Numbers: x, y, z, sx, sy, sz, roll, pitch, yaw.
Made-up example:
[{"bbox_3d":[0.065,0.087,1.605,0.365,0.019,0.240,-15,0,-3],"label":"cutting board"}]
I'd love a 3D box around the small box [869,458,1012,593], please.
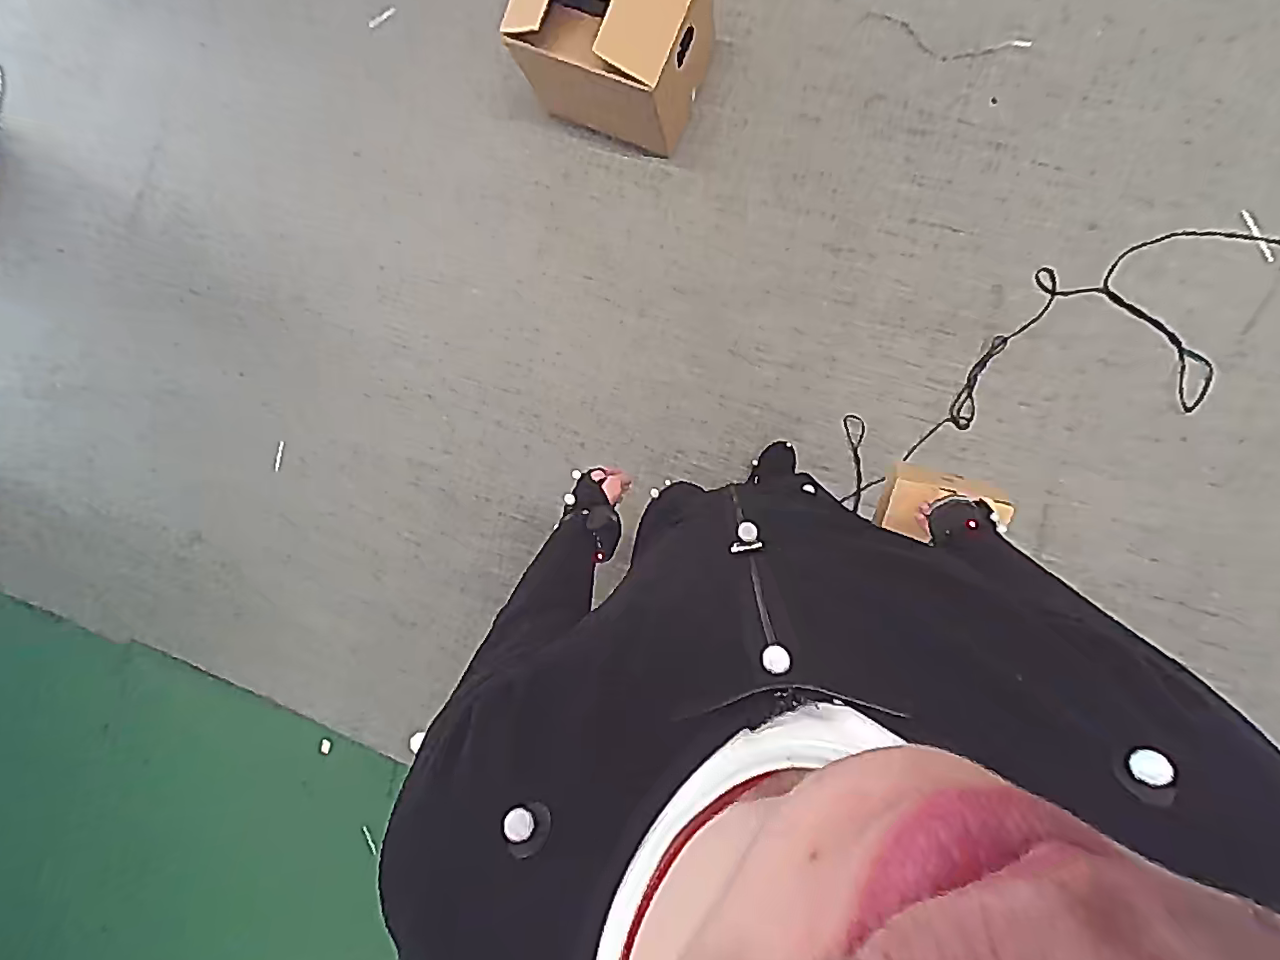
[{"bbox_3d":[0.491,0.071,0.909,0.168,0.179,0.176,12,105,18],"label":"small box"}]
